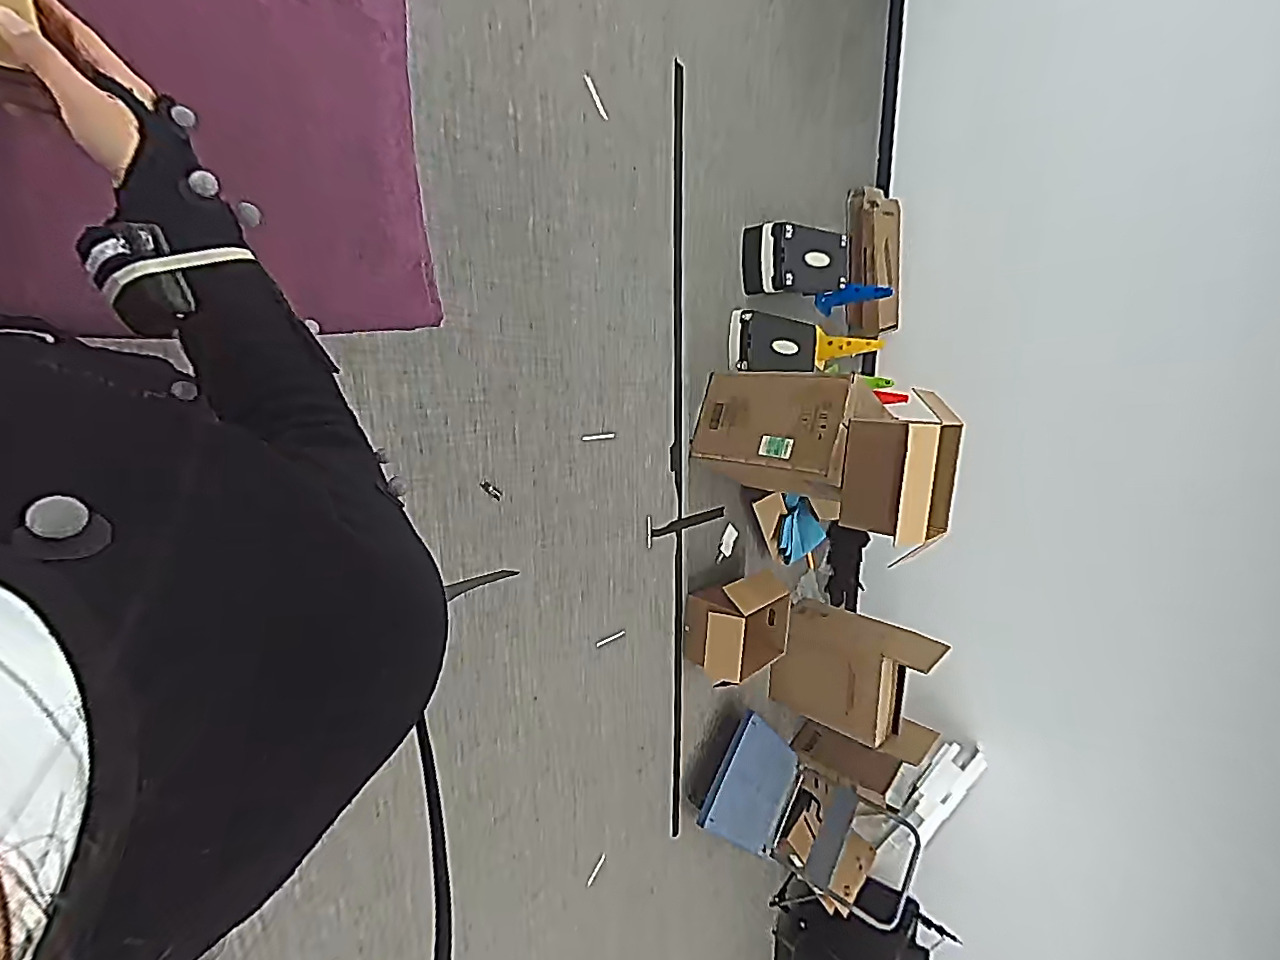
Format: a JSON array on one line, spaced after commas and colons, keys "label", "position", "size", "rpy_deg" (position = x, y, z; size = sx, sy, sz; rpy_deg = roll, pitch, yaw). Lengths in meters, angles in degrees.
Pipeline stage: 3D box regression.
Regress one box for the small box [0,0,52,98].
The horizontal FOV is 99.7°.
[{"label": "small box", "position": [-0.470, -0.336, 0.299], "size": [0.179, 0.176, 0.168], "rpy_deg": [-12, 117, -43]}]
